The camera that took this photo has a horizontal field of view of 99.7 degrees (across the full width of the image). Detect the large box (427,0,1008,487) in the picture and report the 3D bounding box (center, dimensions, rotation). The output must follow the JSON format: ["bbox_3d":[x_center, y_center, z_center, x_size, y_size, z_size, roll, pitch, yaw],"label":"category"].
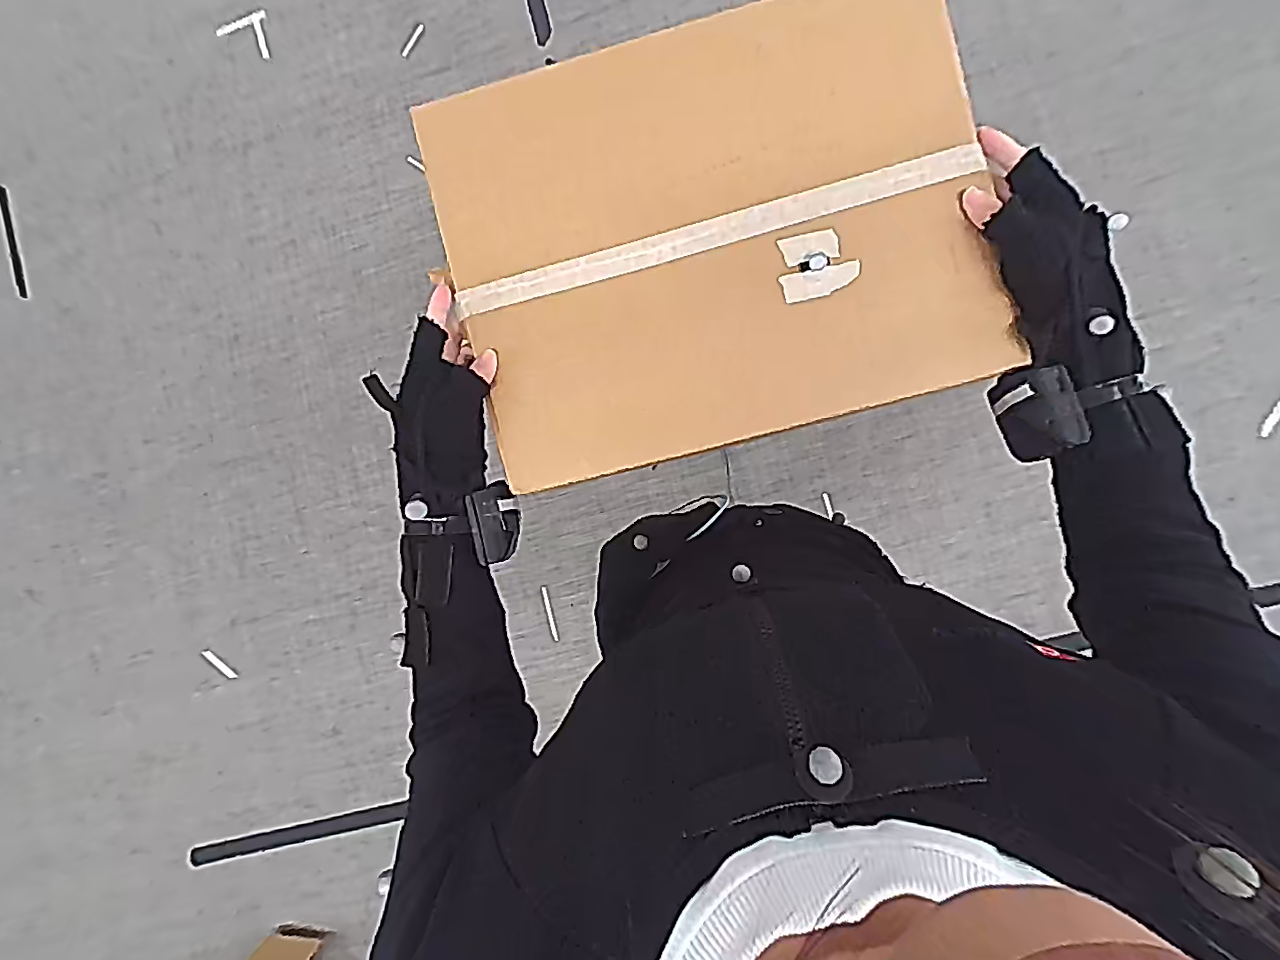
[{"bbox_3d":[0.062,-0.195,0.573,0.408,0.320,0.320,-15,92,3],"label":"large box"}]
